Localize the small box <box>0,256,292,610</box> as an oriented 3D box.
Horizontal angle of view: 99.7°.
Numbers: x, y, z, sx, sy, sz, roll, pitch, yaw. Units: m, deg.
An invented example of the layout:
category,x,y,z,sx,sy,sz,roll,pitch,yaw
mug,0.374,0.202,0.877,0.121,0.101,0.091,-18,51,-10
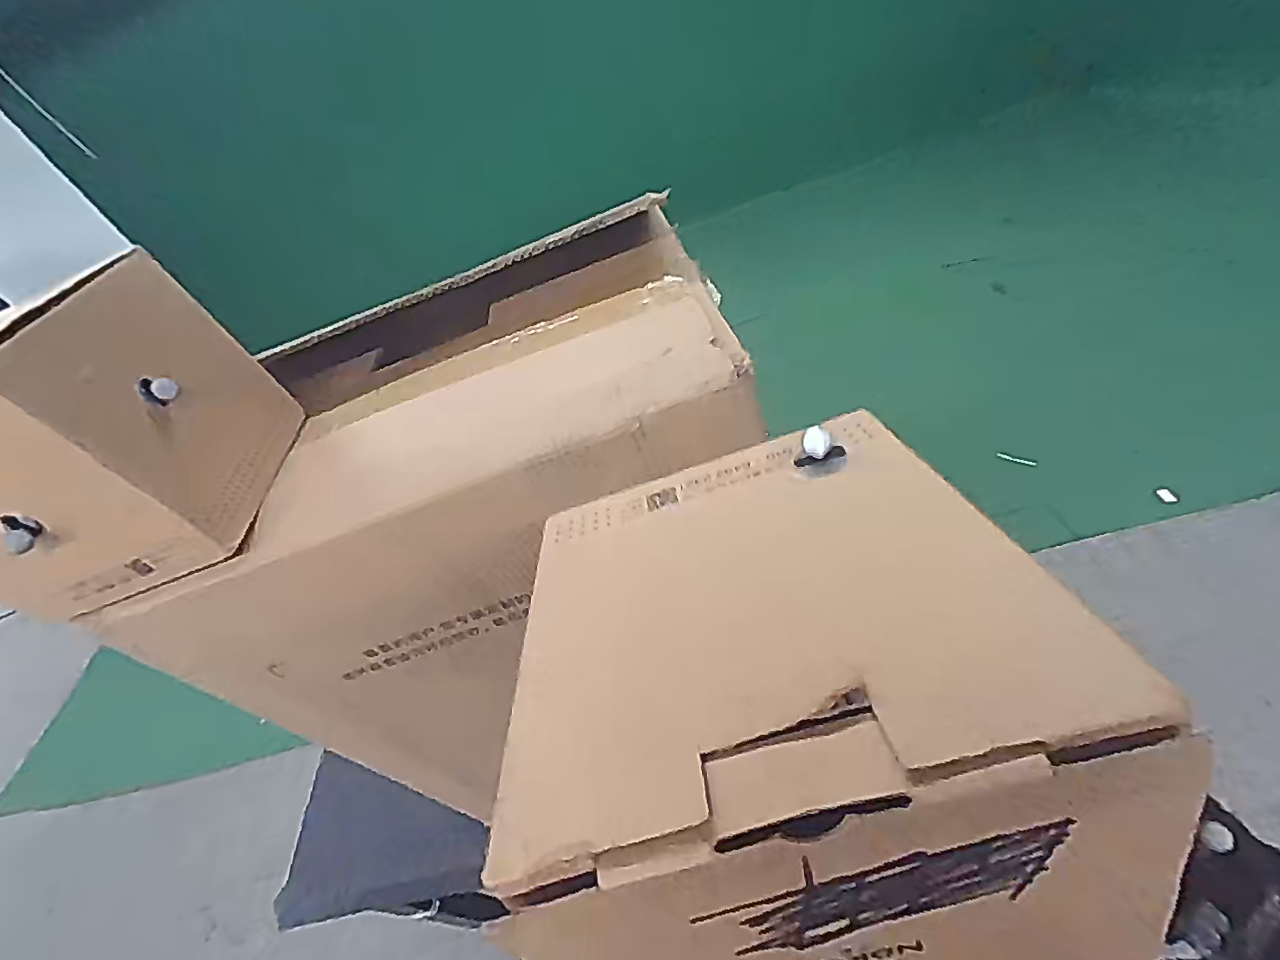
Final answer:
category,x,y,z,sx,sy,sz,roll,pitch,yaw
small box,-0.403,-0.025,0.399,0.168,0.176,0.179,-20,44,8
